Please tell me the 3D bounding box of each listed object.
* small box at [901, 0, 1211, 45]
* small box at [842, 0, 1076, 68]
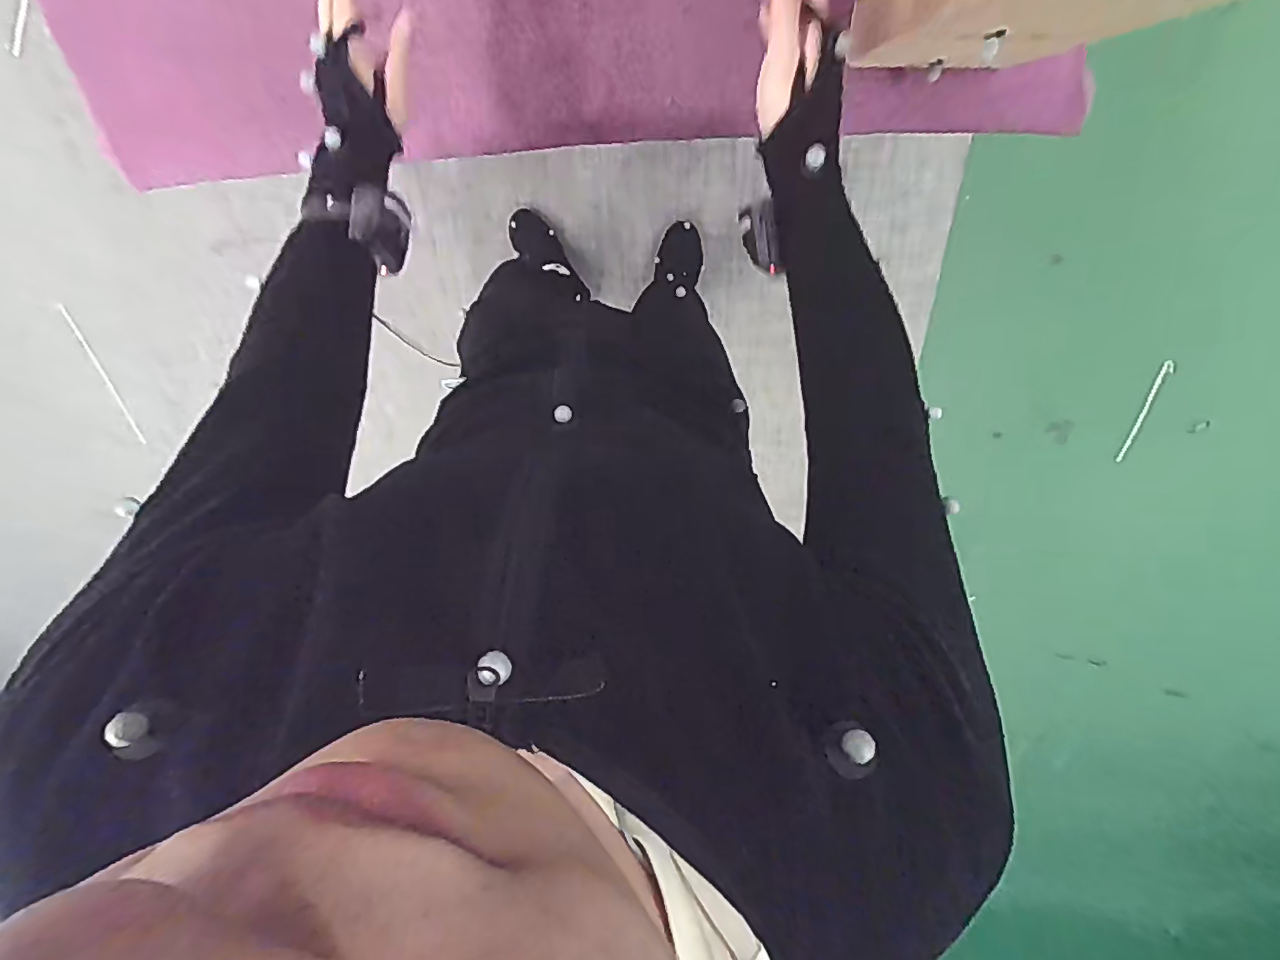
[{"bbox_3d":[0.301,-0.423,0.366,0.168,0.176,0.179,3,121,4],"label":"small box"},{"bbox_3d":[0.311,-0.504,0.509,0.179,0.176,0.168,3,121,4],"label":"small box"}]
